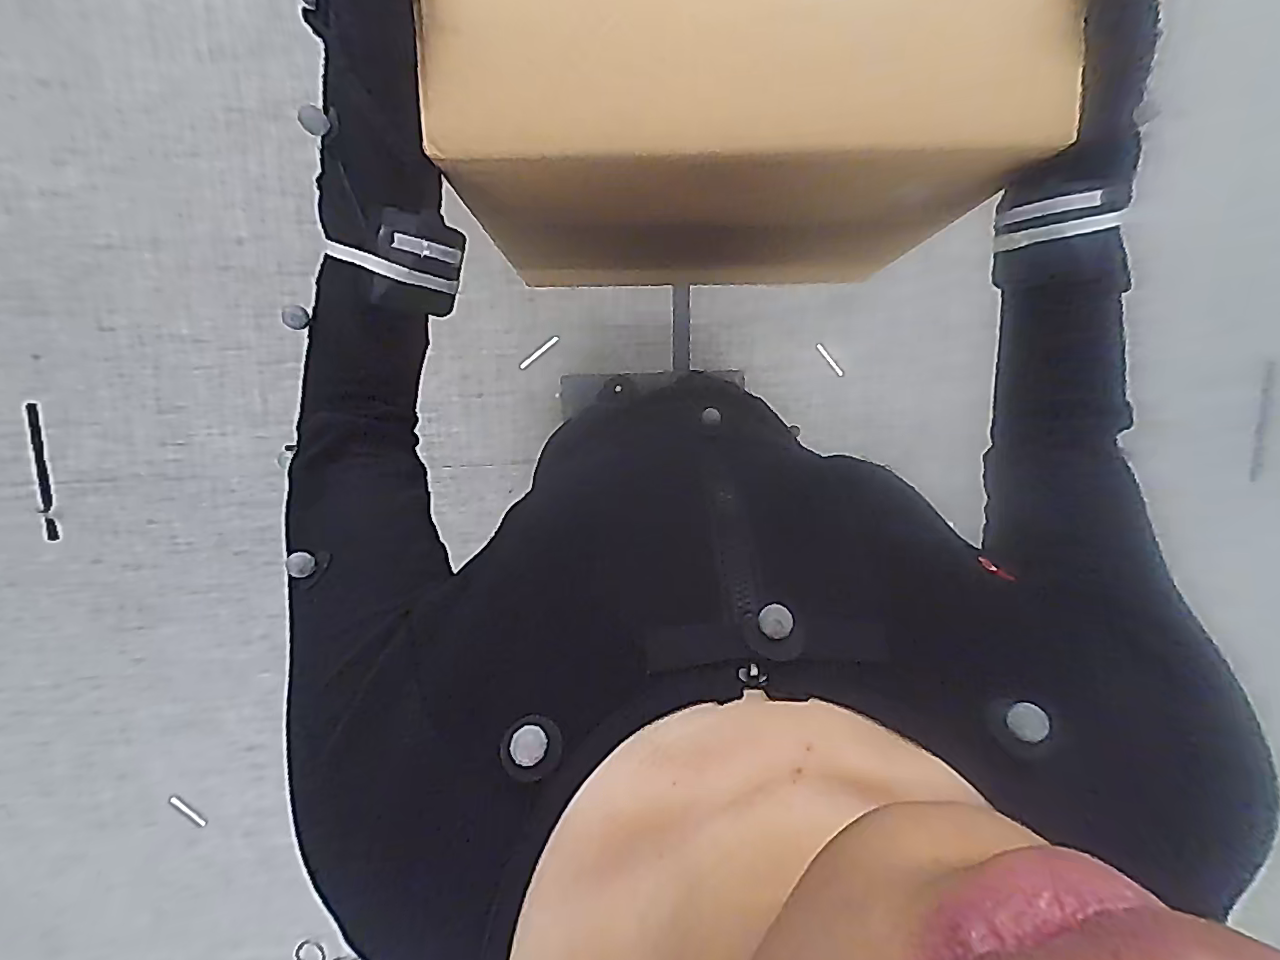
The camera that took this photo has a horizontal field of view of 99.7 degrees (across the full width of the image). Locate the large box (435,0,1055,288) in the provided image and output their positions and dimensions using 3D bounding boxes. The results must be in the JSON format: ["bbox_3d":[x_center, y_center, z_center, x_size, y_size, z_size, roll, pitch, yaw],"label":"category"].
[{"bbox_3d":[0.062,-0.377,0.489,0.408,0.320,0.320,-2,95,0],"label":"large box"}]

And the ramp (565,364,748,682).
[{"bbox_3d":[0.061,0.171,1.591,0.509,0.206,0.991,-4,100,-2],"label":"ramp"}]
